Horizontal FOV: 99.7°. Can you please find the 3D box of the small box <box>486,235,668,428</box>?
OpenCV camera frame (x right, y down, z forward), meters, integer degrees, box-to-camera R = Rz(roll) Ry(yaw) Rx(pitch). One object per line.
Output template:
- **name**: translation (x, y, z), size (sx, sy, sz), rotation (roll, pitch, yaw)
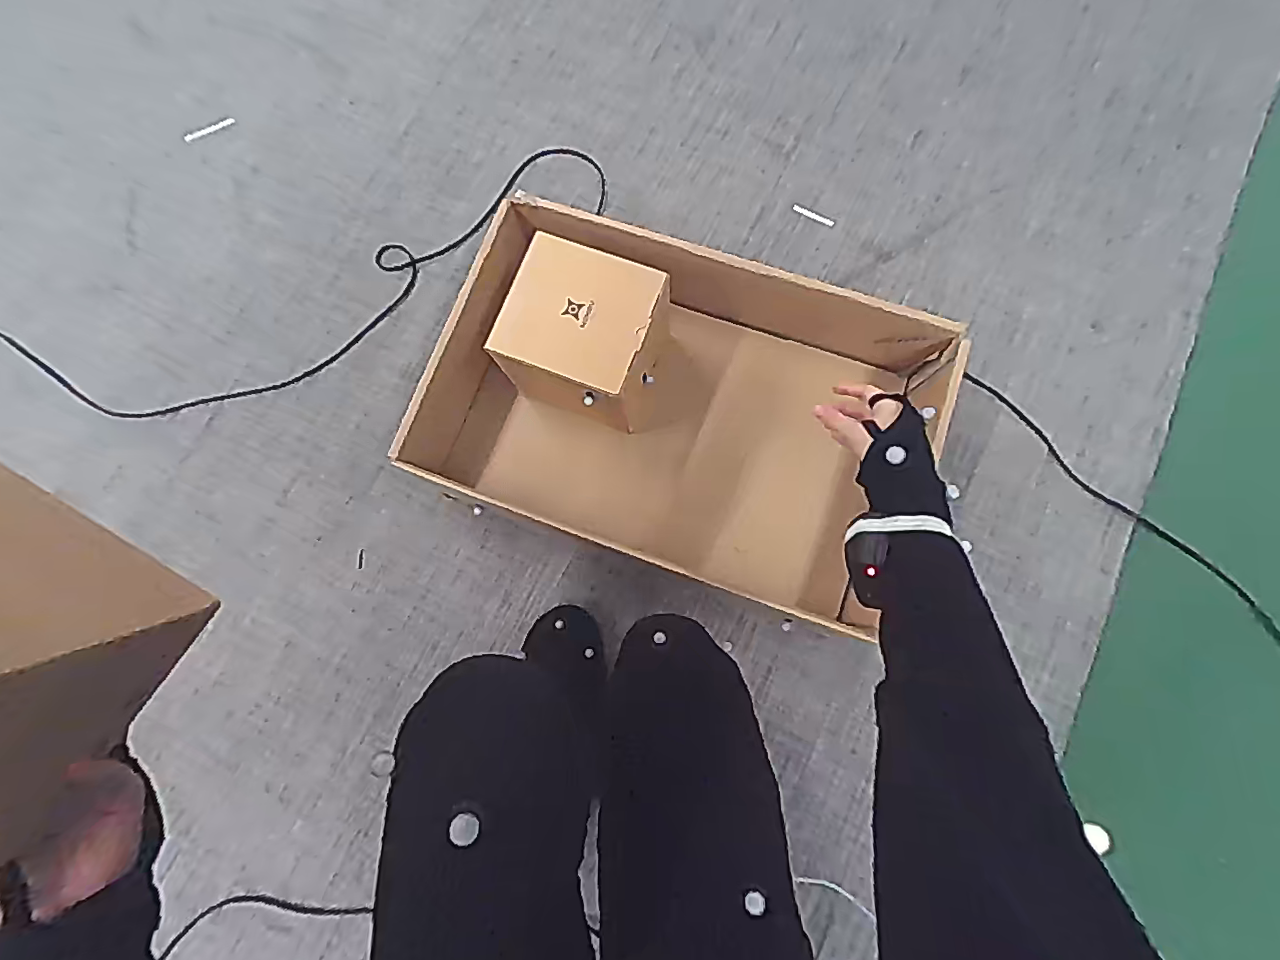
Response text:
- **small box**: translation (-0.072, -0.185, 0.722), size (0.179, 0.176, 0.168), rotation (20, 82, 6)
